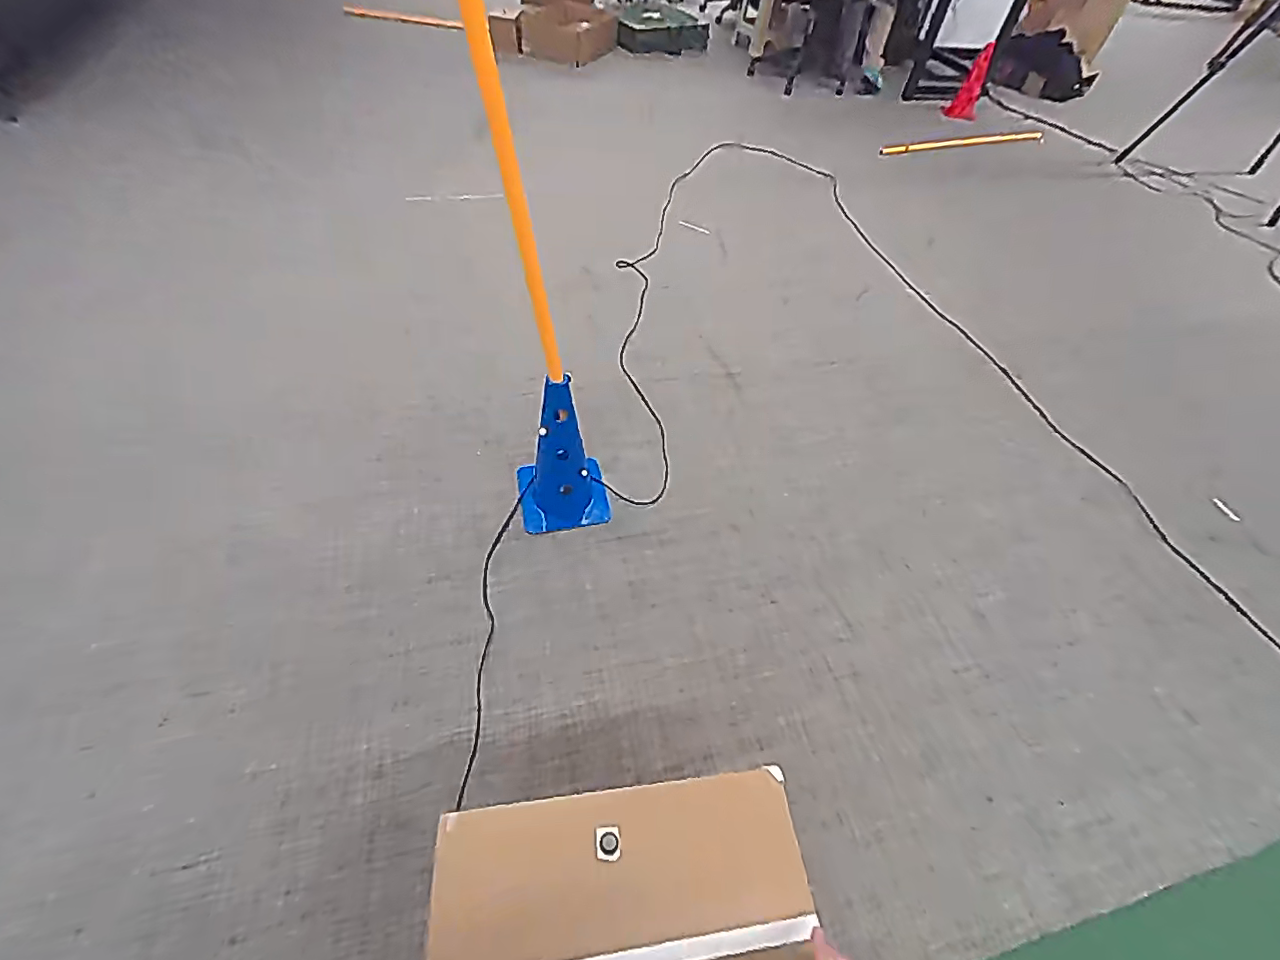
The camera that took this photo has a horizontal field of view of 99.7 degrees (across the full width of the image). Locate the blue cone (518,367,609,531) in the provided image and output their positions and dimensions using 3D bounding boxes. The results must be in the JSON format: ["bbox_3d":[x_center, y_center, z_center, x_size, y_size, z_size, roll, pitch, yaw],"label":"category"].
[{"bbox_3d":[-0.168,-0.072,1.133,0.193,0.380,0.192,-11,53,-13],"label":"blue cone"}]
